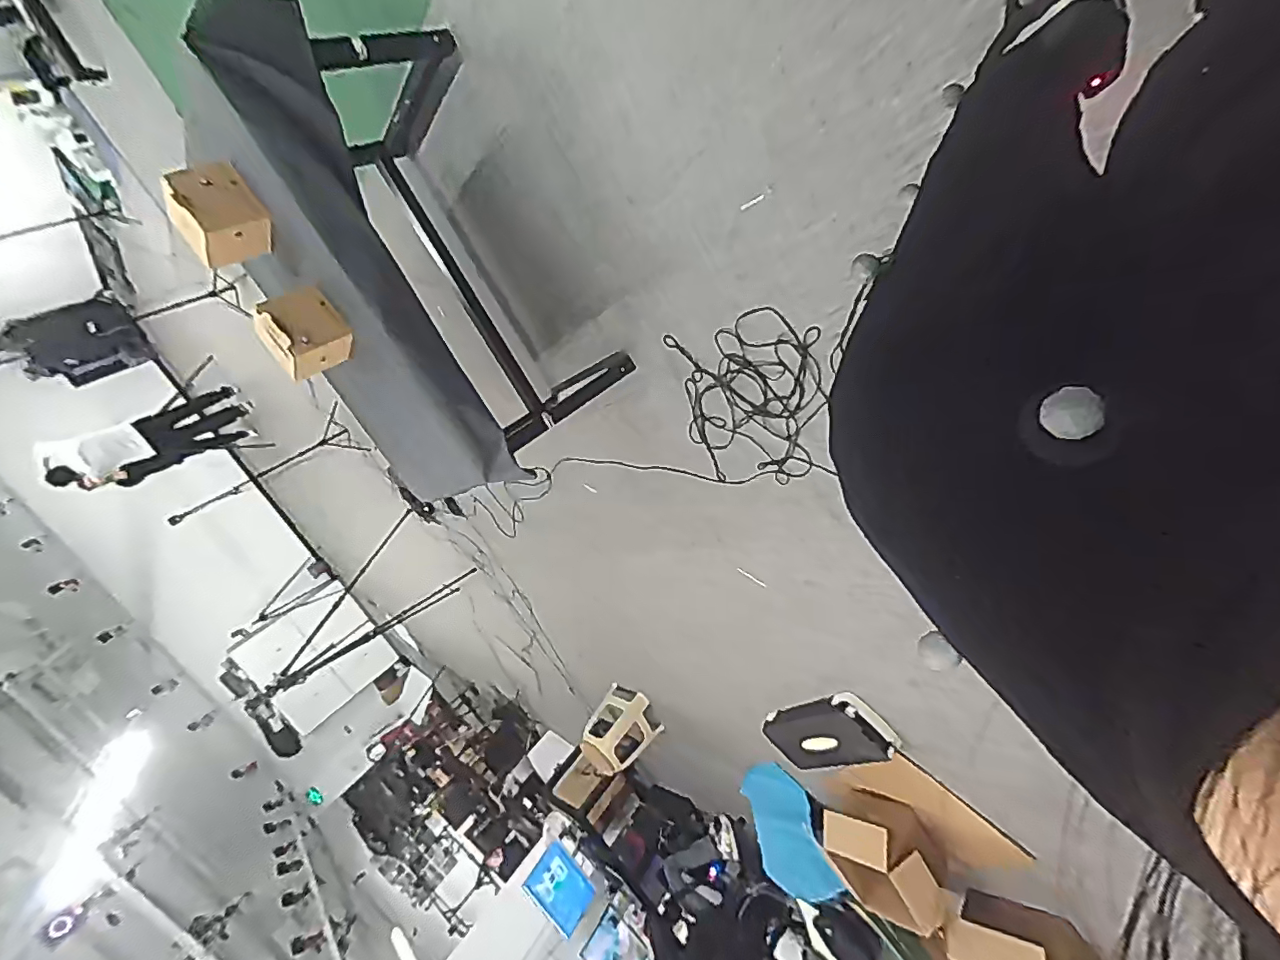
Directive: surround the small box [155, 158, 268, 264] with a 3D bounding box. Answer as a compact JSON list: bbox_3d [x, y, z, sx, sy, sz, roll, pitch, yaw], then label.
[{"bbox_3d":[-1.115,-0.710,1.424,0.168,0.176,0.179,56,145,-8],"label":"small box"}]
